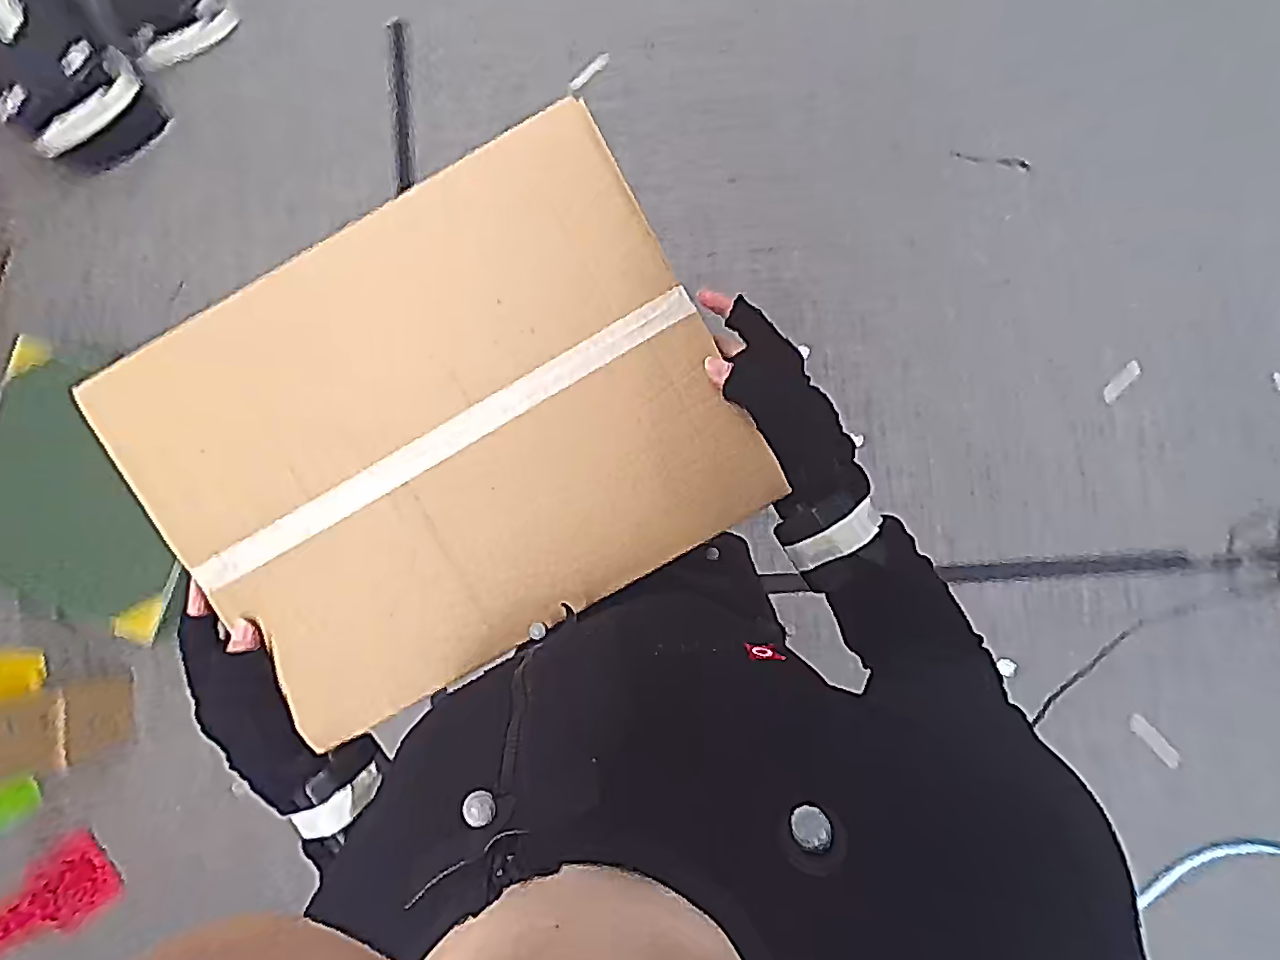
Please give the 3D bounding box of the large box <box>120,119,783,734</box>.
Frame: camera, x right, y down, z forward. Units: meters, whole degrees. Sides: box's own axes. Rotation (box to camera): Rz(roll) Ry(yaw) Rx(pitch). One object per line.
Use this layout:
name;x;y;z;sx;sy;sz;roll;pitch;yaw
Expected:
large box;-0.135;-0.044;0.545;0.408;0.320;0.320;-28;95;2
